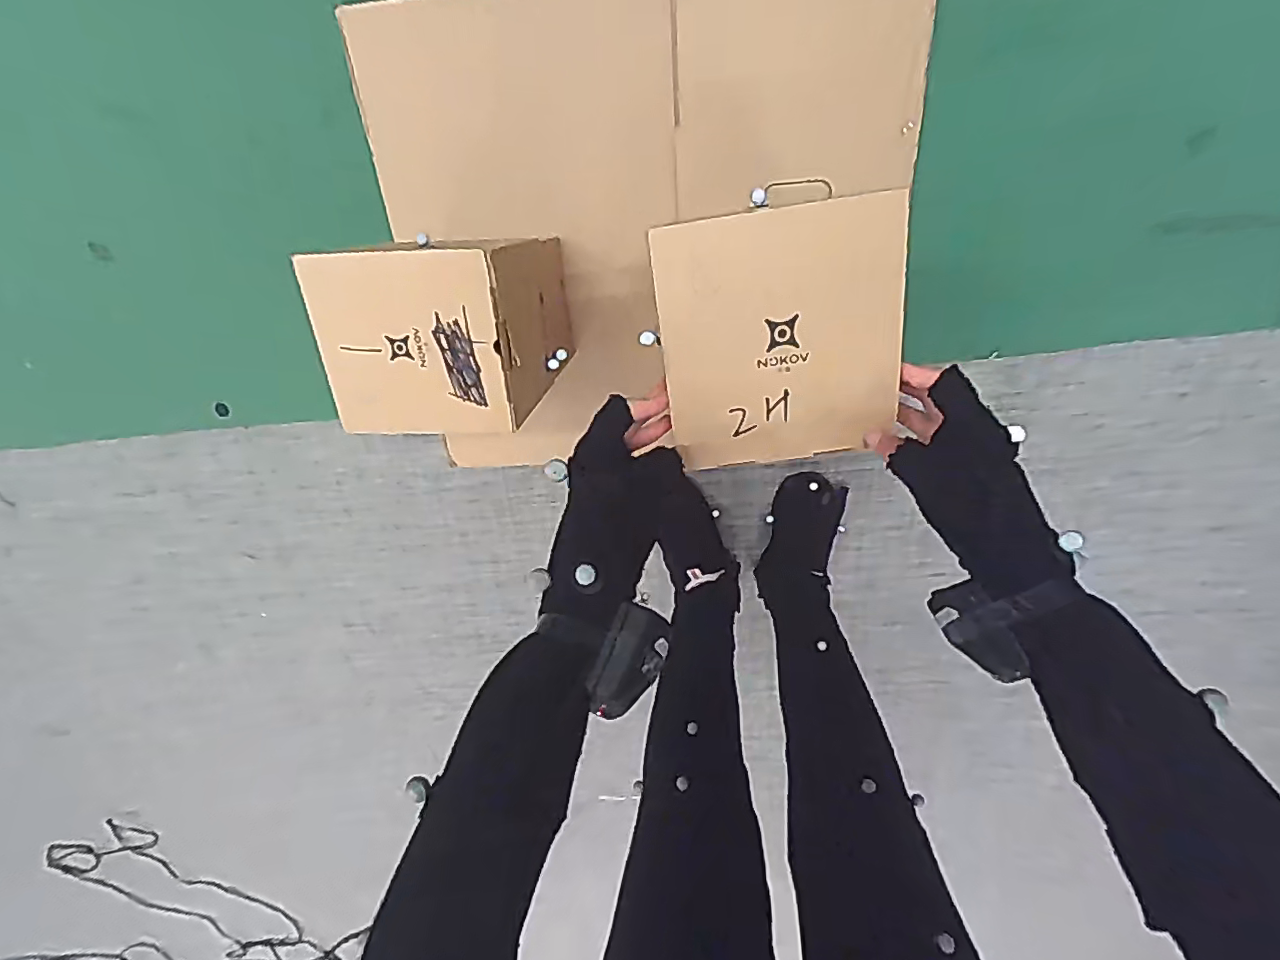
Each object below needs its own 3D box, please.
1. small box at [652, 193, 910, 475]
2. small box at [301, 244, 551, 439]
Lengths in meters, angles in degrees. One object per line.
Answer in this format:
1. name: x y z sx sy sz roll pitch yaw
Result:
1. small box: 0.100 -0.123 0.448 0.168 0.176 0.179 -7 114 4
2. small box: -0.196 -0.150 0.560 0.179 0.176 0.168 1 116 6
